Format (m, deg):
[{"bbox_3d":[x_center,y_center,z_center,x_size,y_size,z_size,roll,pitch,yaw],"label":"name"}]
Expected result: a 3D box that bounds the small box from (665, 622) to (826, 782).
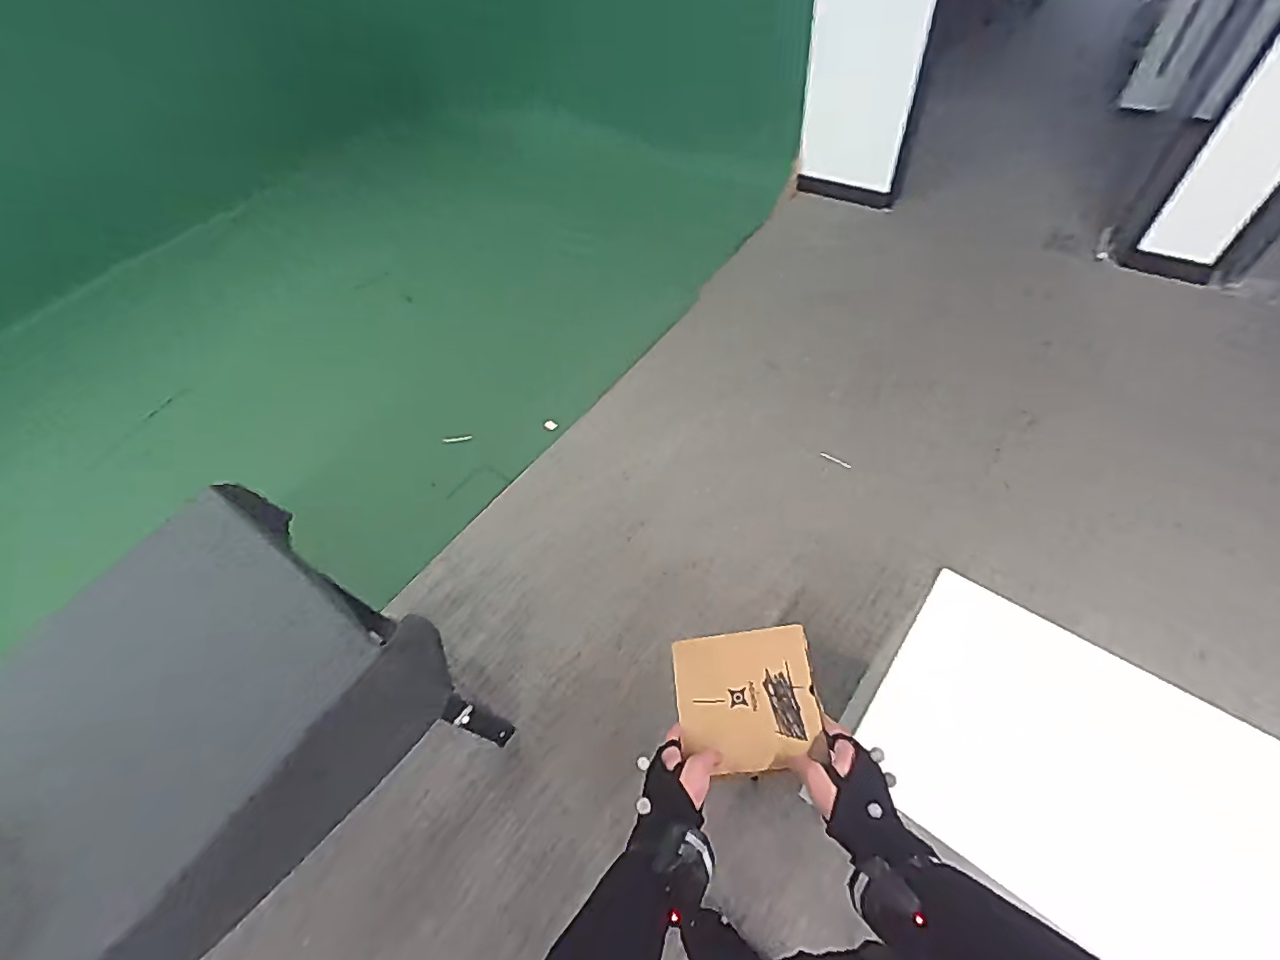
[{"bbox_3d":[0.139,0.304,0.727,0.179,0.176,0.168,-11,56,10],"label":"small box"}]
